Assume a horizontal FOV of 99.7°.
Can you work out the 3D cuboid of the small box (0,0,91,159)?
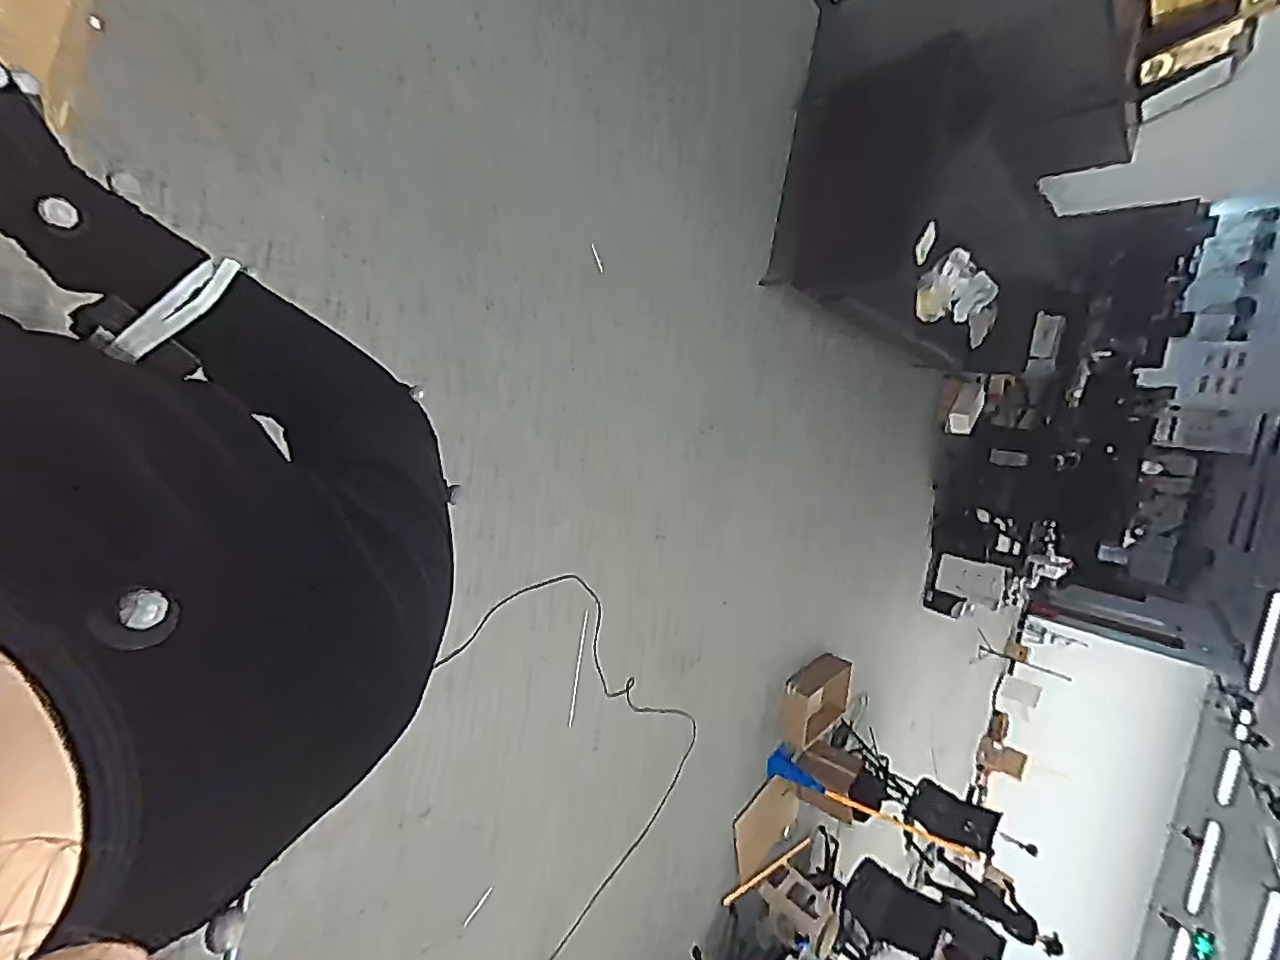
[{"bbox_3d":[-0.721,-0.486,0.585,0.168,0.176,0.179,7,95,-46],"label":"small box"}]
